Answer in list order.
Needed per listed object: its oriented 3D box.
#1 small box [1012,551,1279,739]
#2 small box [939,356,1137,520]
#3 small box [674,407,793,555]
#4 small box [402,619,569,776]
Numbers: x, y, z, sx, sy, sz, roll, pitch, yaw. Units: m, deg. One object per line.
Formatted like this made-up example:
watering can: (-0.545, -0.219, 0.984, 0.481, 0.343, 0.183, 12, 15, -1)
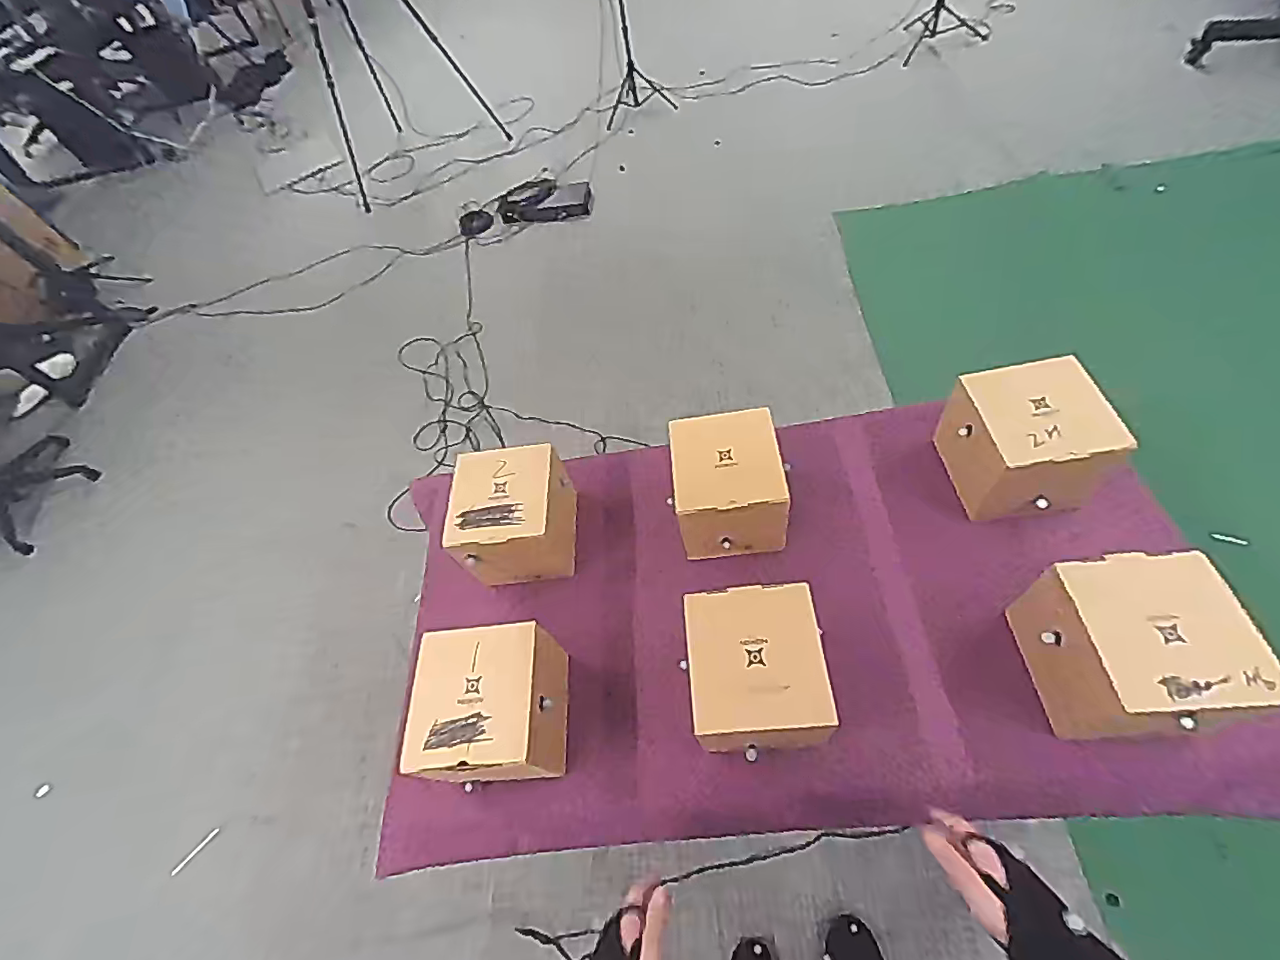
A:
small box: (0.604, 0.208, 0.669, 0.168, 0.176, 0.179, -7, 54, 8)
small box: (0.595, -0.060, 0.842, 0.168, 0.176, 0.179, -10, 57, 9)
small box: (0.148, 0.006, 0.894, 0.168, 0.176, 0.179, -7, 58, 6)
small box: (-0.201, 0.312, 0.762, 0.168, 0.176, 0.179, -7, 56, 6)
